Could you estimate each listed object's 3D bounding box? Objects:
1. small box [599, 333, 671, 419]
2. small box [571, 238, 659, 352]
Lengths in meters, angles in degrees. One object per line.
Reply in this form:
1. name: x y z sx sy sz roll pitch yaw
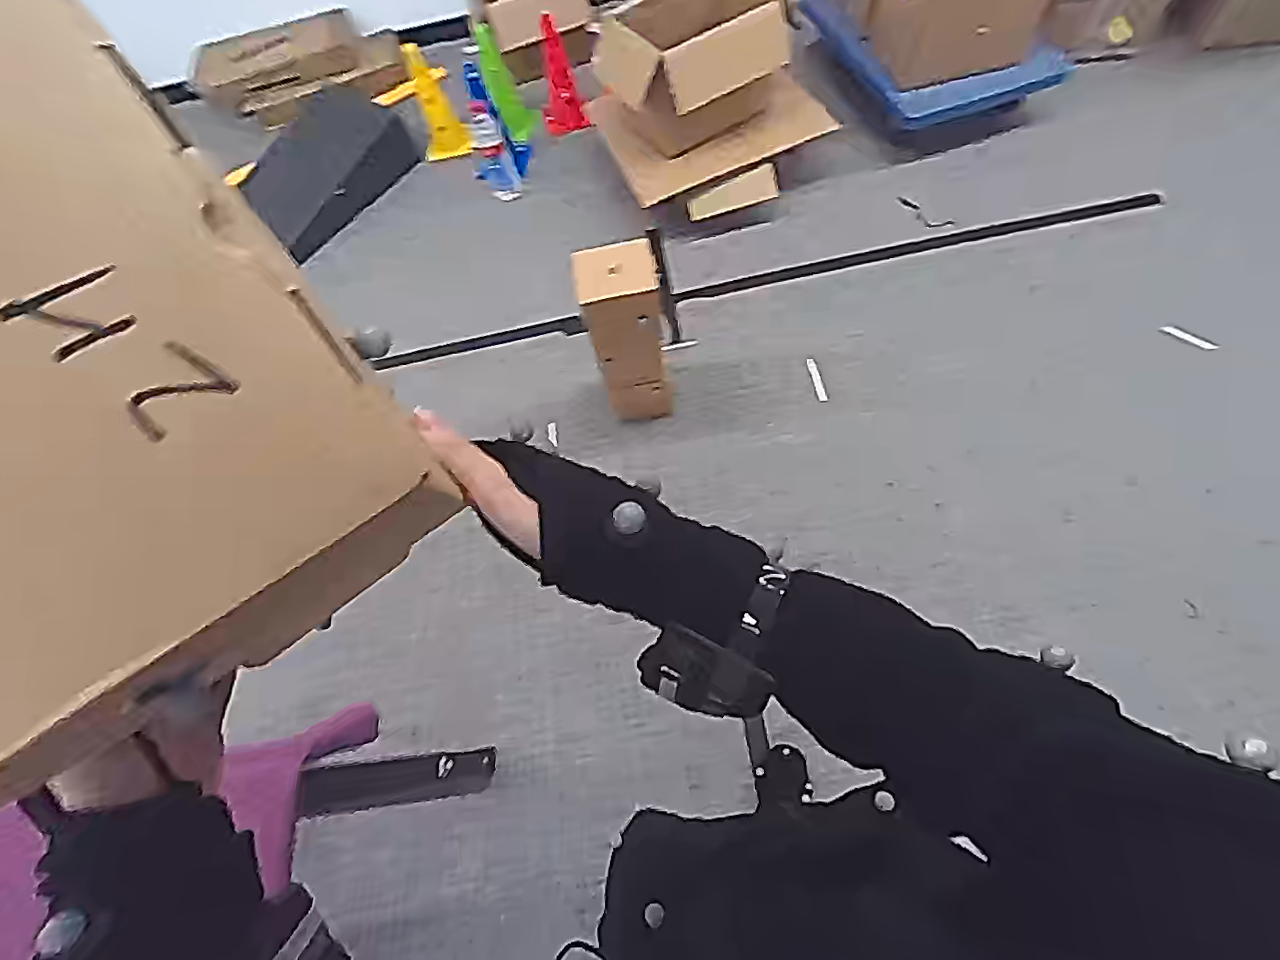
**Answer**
1. small box: -0.013 -0.295 1.560 0.179 0.176 0.168 -10 65 2
2. small box: -0.053 -0.427 1.263 0.179 0.176 0.168 -12 63 2
